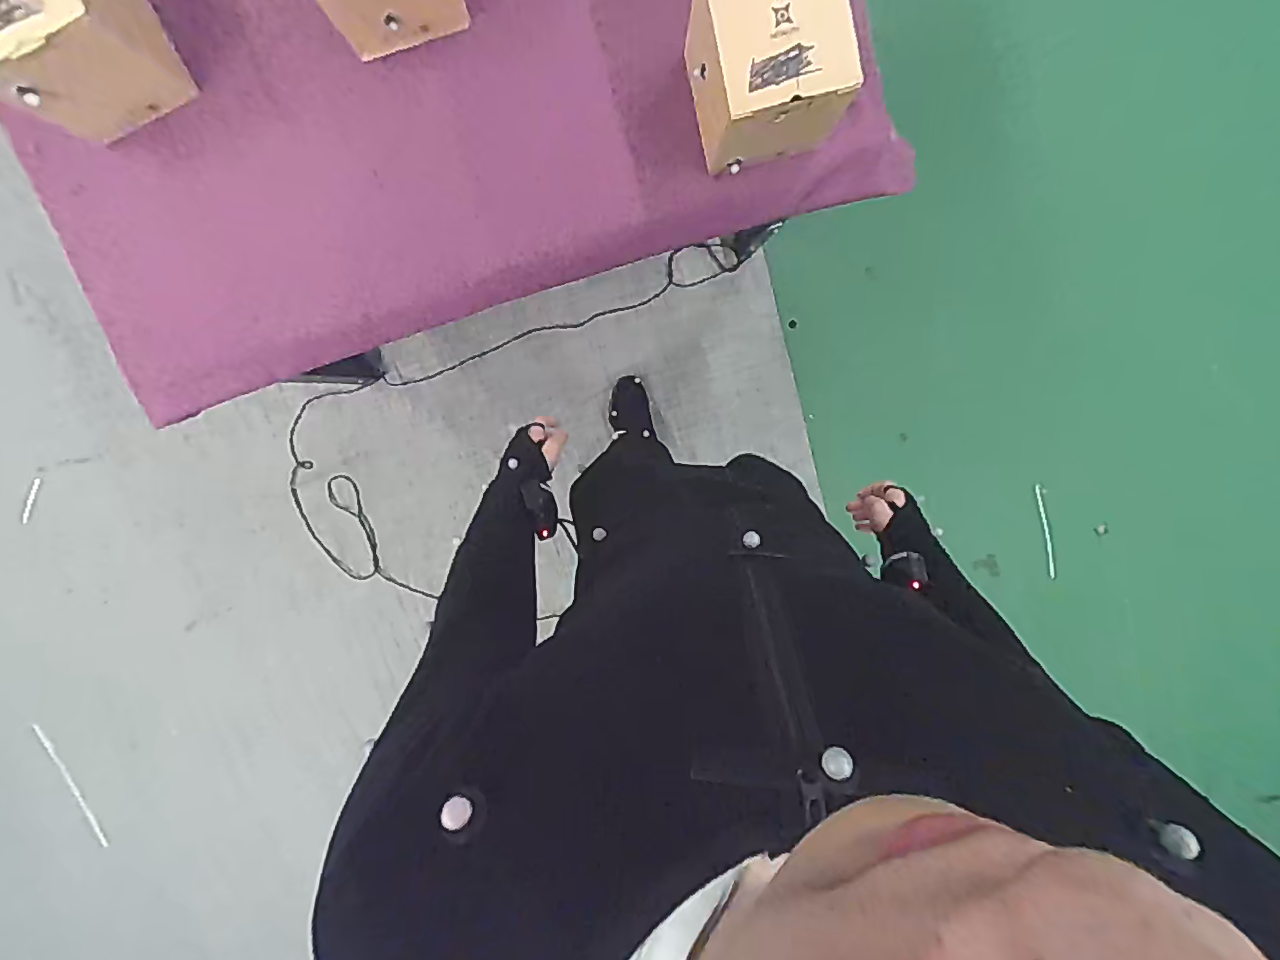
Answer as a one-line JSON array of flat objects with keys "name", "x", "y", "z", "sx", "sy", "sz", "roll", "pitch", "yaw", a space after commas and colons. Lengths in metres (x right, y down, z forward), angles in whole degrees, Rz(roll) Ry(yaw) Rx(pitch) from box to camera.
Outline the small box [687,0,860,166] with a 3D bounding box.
[{"name": "small box", "x": 0.164, "y": -0.543, "z": 0.712, "sx": 0.168, "sy": 0.176, "sz": 0.179, "roll": -14, "pitch": 98, "yaw": 0}]

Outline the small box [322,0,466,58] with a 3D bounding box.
[{"name": "small box", "x": -0.338, "y": -0.683, "z": 0.668, "sx": 0.168, "sy": 0.176, "sz": 0.179, "roll": -19, "pitch": 101, "yaw": 0}]
